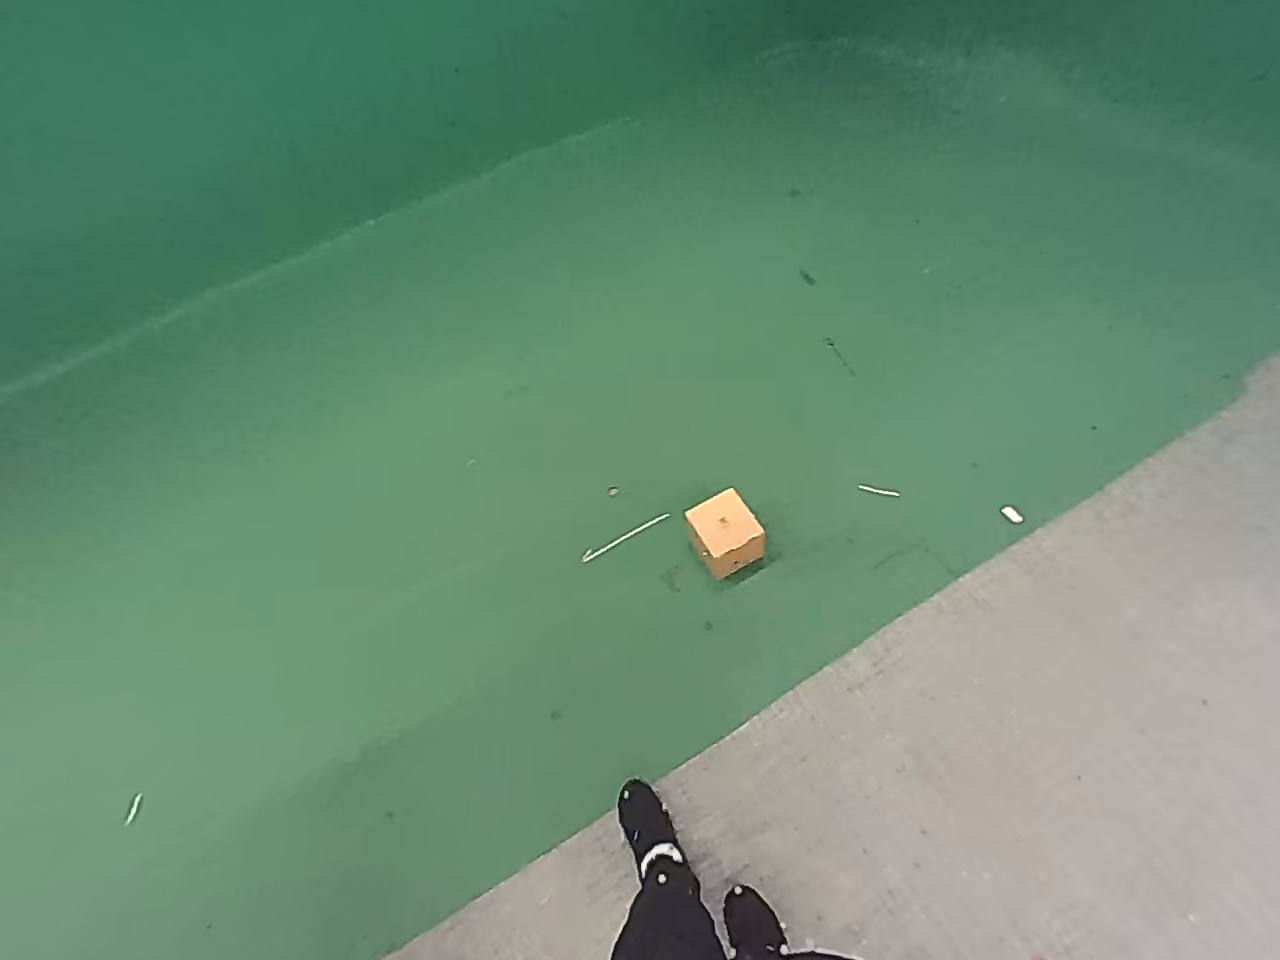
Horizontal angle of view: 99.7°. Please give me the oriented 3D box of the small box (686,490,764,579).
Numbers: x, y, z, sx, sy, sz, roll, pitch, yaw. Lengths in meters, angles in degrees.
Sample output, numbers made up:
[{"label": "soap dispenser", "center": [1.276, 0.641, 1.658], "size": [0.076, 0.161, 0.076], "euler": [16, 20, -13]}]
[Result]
[{"label": "small box", "center": [0.254, 0.169, 1.632], "size": [0.168, 0.176, 0.179], "euler": [-28, 59, -8]}]
